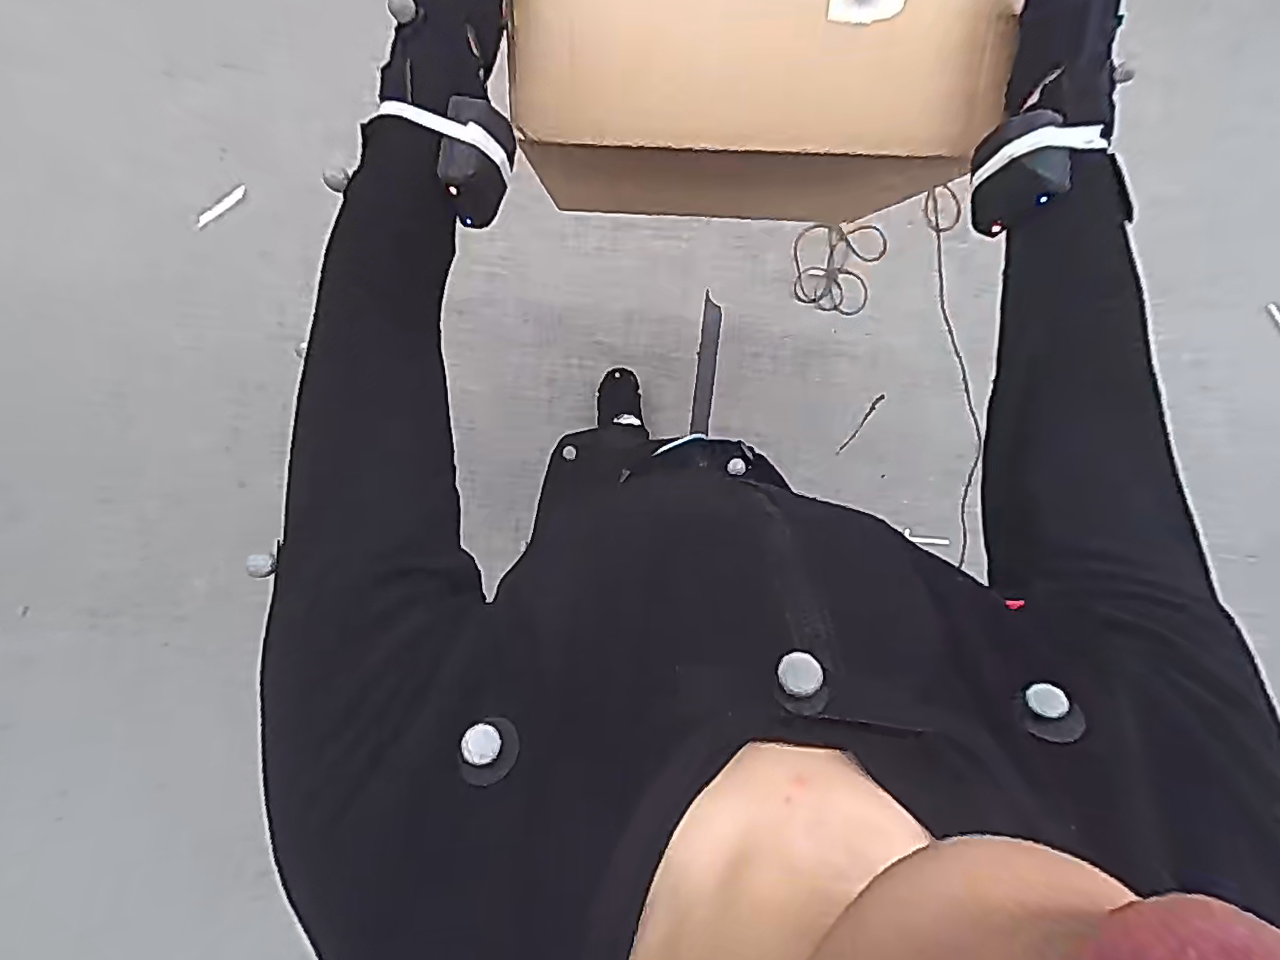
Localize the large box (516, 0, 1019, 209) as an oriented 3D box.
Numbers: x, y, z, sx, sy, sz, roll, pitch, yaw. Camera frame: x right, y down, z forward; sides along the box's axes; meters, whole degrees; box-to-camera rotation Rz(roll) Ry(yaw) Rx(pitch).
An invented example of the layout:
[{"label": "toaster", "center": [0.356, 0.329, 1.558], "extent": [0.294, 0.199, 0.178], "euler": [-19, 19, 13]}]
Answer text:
[{"label": "large box", "center": [0.096, -0.473, 0.545], "extent": [0.408, 0.320, 0.320], "euler": [1, 108, -3]}]
